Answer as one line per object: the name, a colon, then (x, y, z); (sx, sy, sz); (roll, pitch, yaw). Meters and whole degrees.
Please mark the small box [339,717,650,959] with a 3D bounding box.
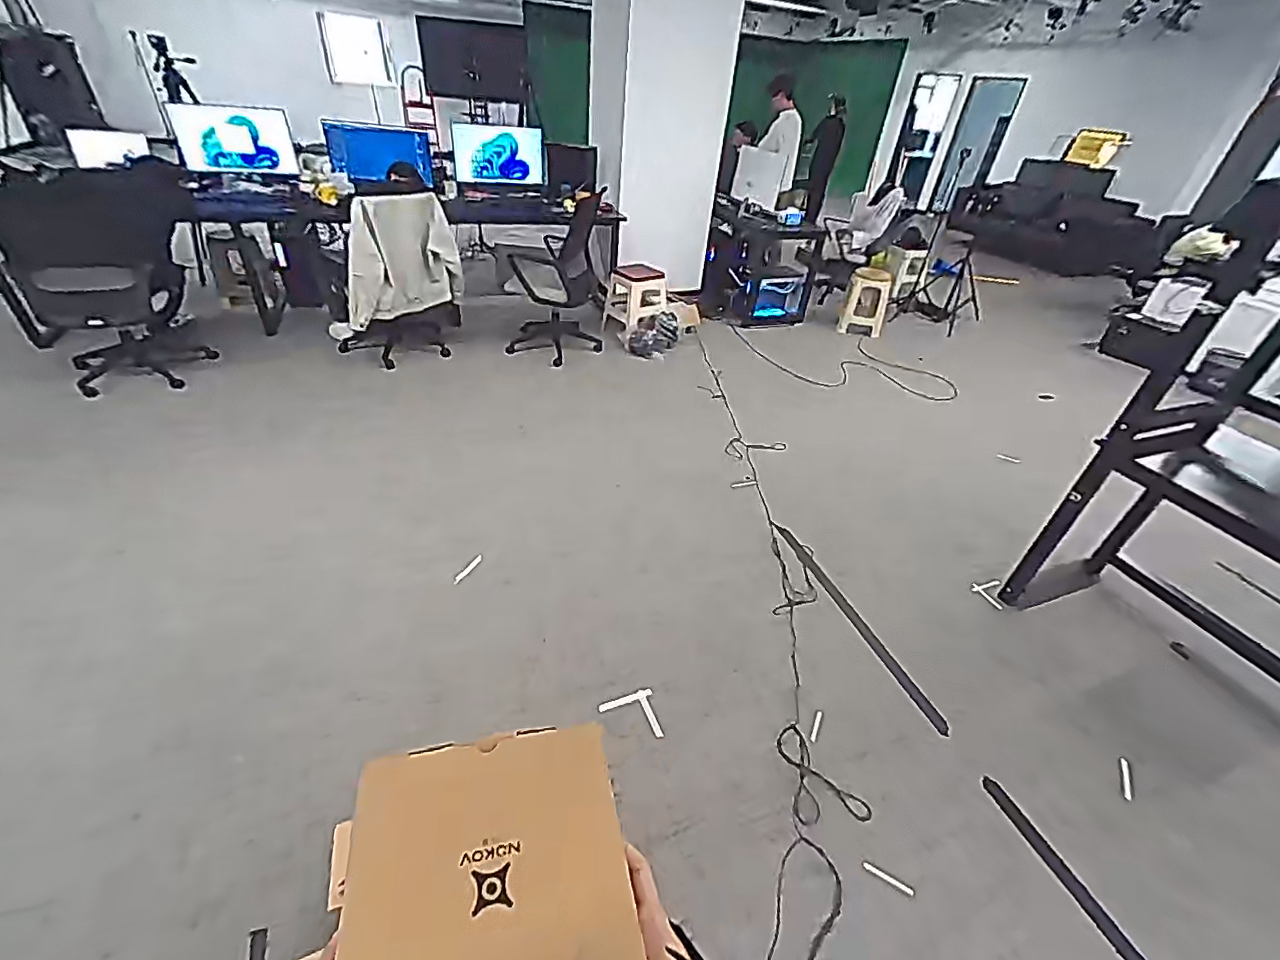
small box: (-0.097, 0.299, 0.371); (0.168, 0.176, 0.179); (-3, 38, -17)
